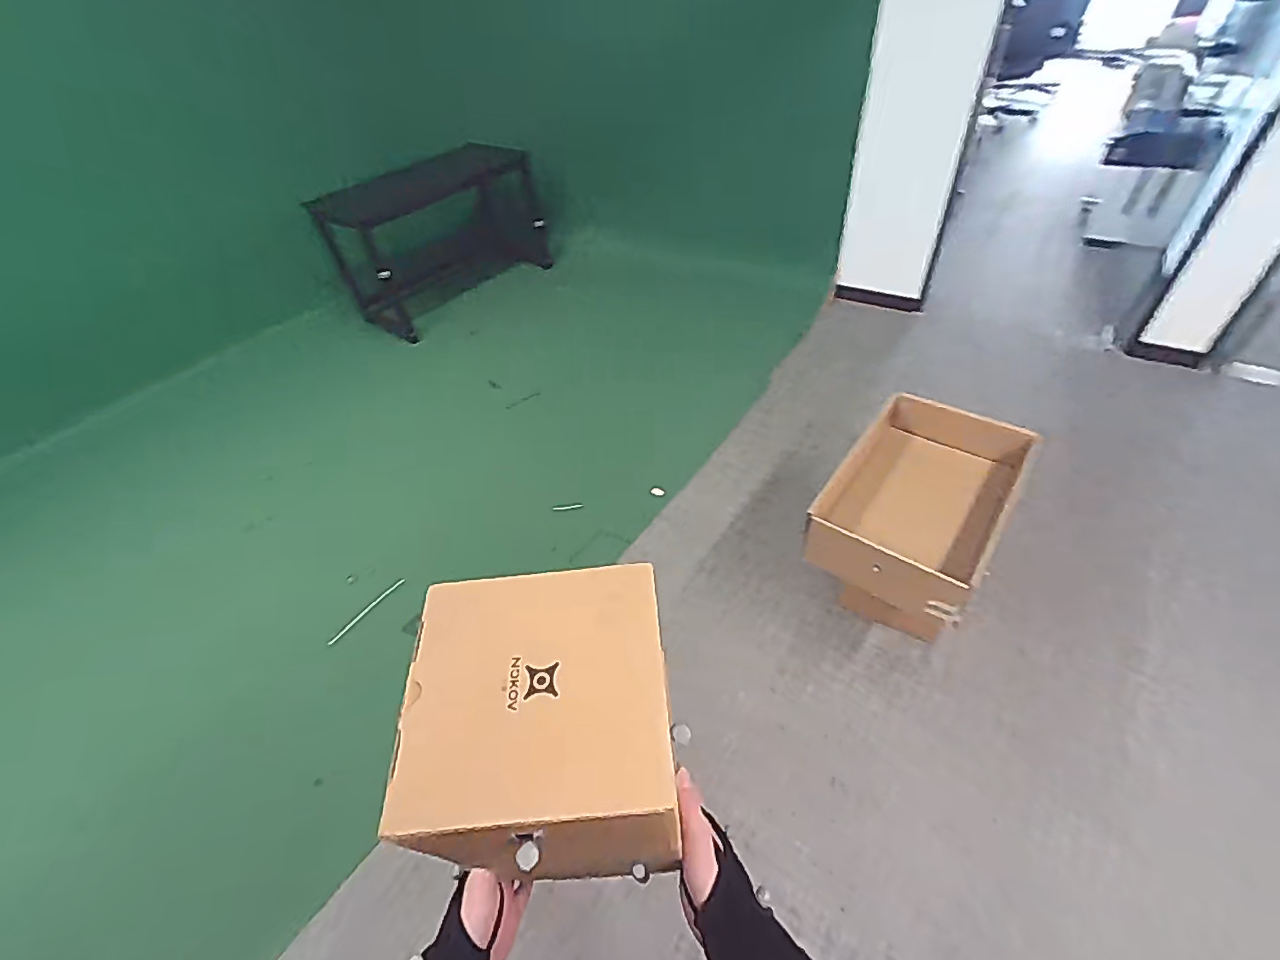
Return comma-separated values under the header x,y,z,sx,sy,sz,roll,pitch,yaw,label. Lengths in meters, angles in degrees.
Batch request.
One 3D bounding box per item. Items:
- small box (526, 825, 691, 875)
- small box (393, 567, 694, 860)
x,y,z,sx,sy,sz,roll,pitch,yaw,label
-0.030,0.386,0.677,0.179,0.176,0.168,-5,49,3,small box
-0.055,0.185,0.420,0.179,0.176,0.168,-5,50,1,small box
